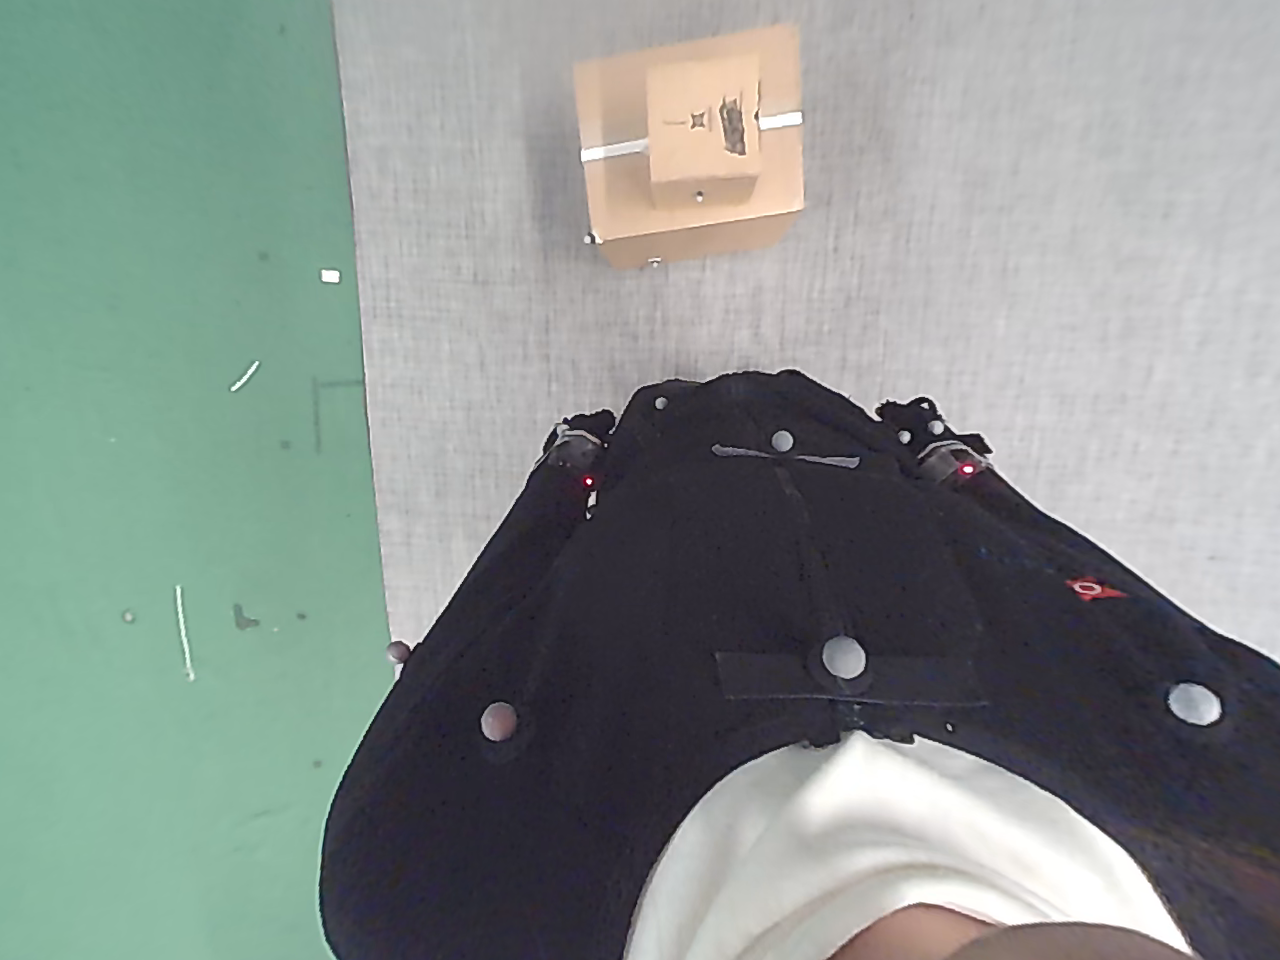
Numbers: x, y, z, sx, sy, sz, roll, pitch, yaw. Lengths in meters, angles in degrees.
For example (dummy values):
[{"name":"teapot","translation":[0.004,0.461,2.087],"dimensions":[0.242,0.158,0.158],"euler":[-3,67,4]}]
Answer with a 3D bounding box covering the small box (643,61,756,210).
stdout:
[{"name":"small box","translation":[0.101,-0.579,0.930],"dimensions":[0.179,0.176,0.168],"euler":[-2,102,6]}]
